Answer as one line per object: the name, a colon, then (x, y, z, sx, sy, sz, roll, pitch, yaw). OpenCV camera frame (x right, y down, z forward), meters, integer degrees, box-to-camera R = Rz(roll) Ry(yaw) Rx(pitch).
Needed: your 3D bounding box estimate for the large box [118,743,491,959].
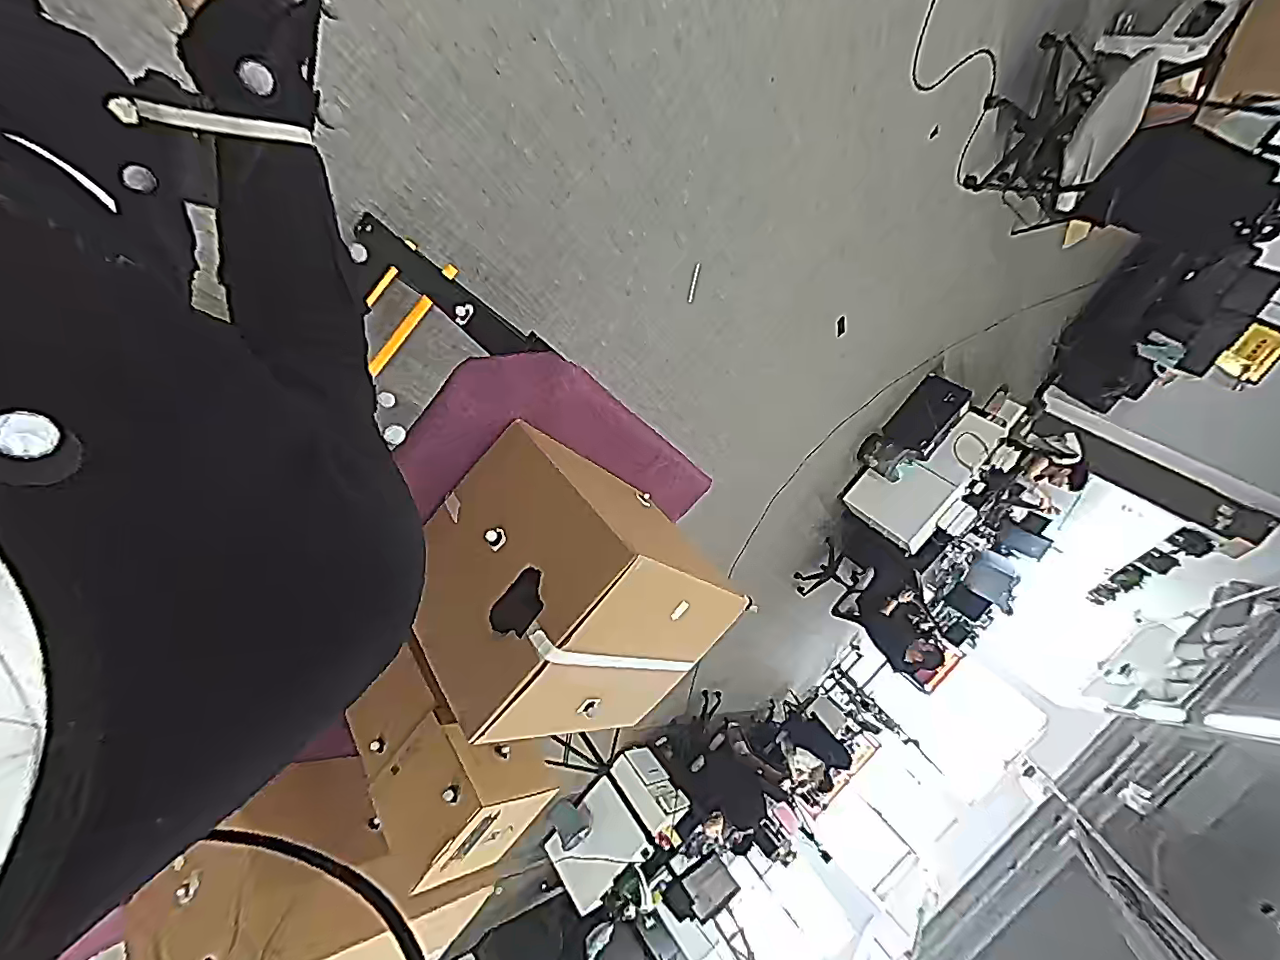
large box: (-0.554, 0.704, 0.927, 0.320, 0.320, 0.408, -50, 147, 5)
